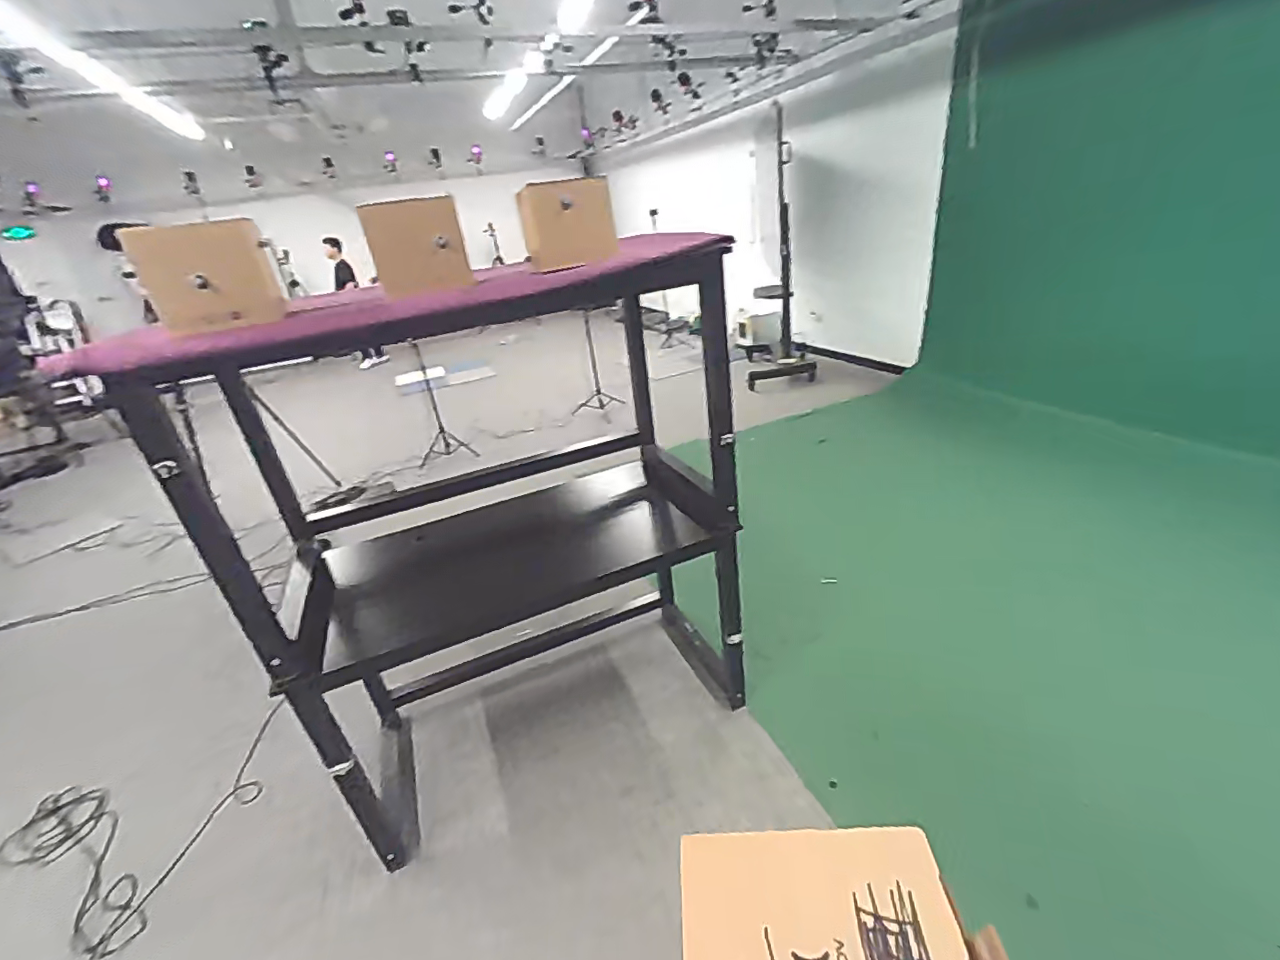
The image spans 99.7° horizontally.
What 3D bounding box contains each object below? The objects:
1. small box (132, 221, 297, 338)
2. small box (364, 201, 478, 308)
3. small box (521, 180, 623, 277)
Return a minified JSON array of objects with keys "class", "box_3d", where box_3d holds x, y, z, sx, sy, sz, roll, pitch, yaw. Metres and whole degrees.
[{"class":"small box","box_3d":[-0.735,-0.355,0.960,0.168,0.176,0.179,-16,27,-20]},{"class":"small box","box_3d":[-0.436,-0.456,1.093,0.179,0.176,0.168,-18,27,-18]},{"class":"small box","box_3d":[-0.153,-0.557,1.214,0.179,0.176,0.168,-16,25,-16]}]
